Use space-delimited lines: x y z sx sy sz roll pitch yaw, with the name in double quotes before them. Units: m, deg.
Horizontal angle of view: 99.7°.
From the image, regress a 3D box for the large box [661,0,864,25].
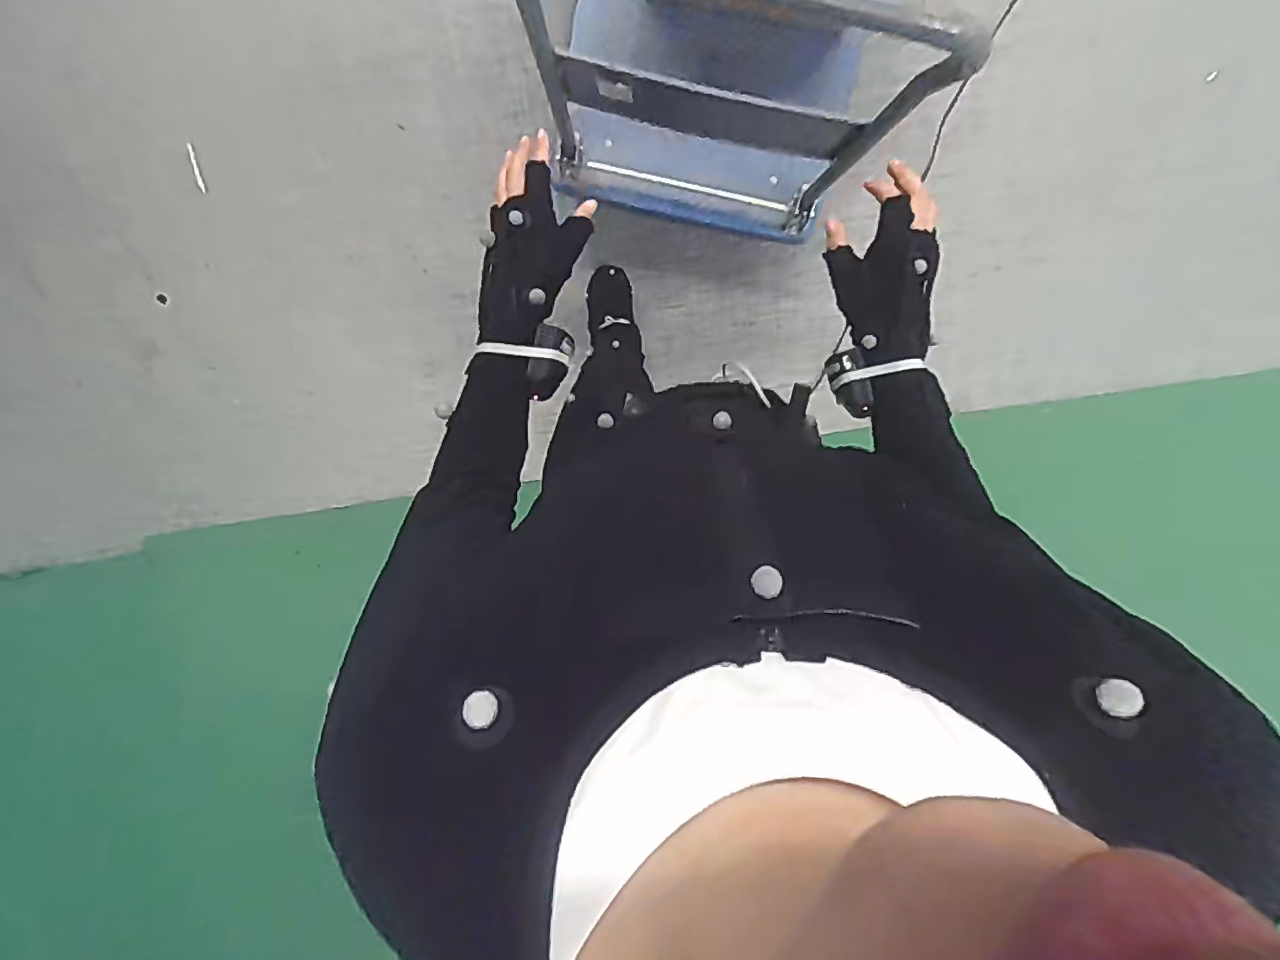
"large box" 0.231 -1.029 0.887 0.408 0.320 0.320 9 103 0
